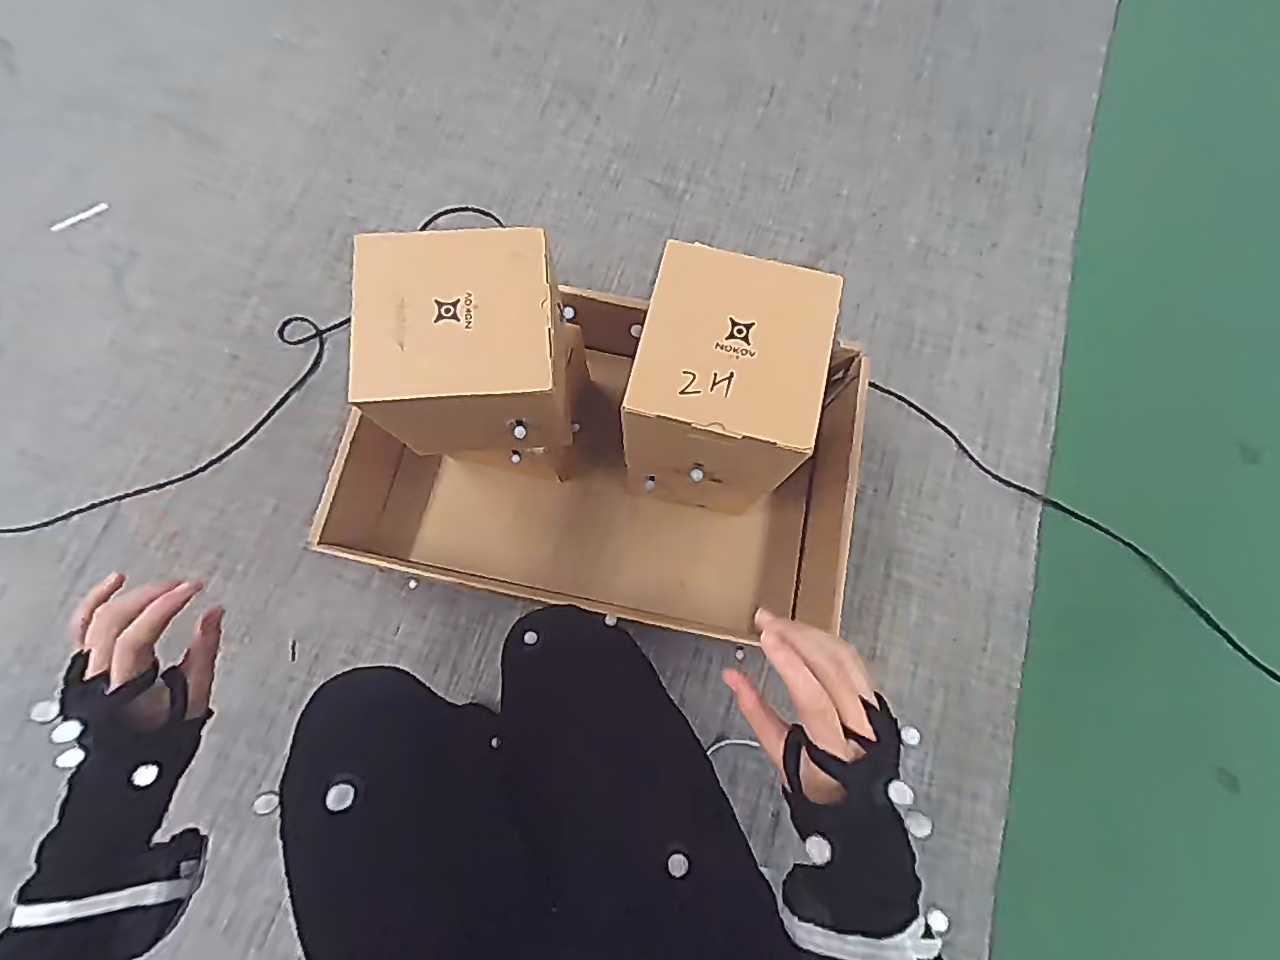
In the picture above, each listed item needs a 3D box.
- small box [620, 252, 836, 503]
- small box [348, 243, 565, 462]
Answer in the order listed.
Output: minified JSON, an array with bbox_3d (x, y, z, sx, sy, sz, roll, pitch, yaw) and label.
[{"bbox_3d":[0.079,-0.091,0.553,0.168,0.176,0.179,14,76,3],"label":"small box"},{"bbox_3d":[-0.171,-0.120,0.560,0.179,0.176,0.168,-3,77,-3],"label":"small box"}]
